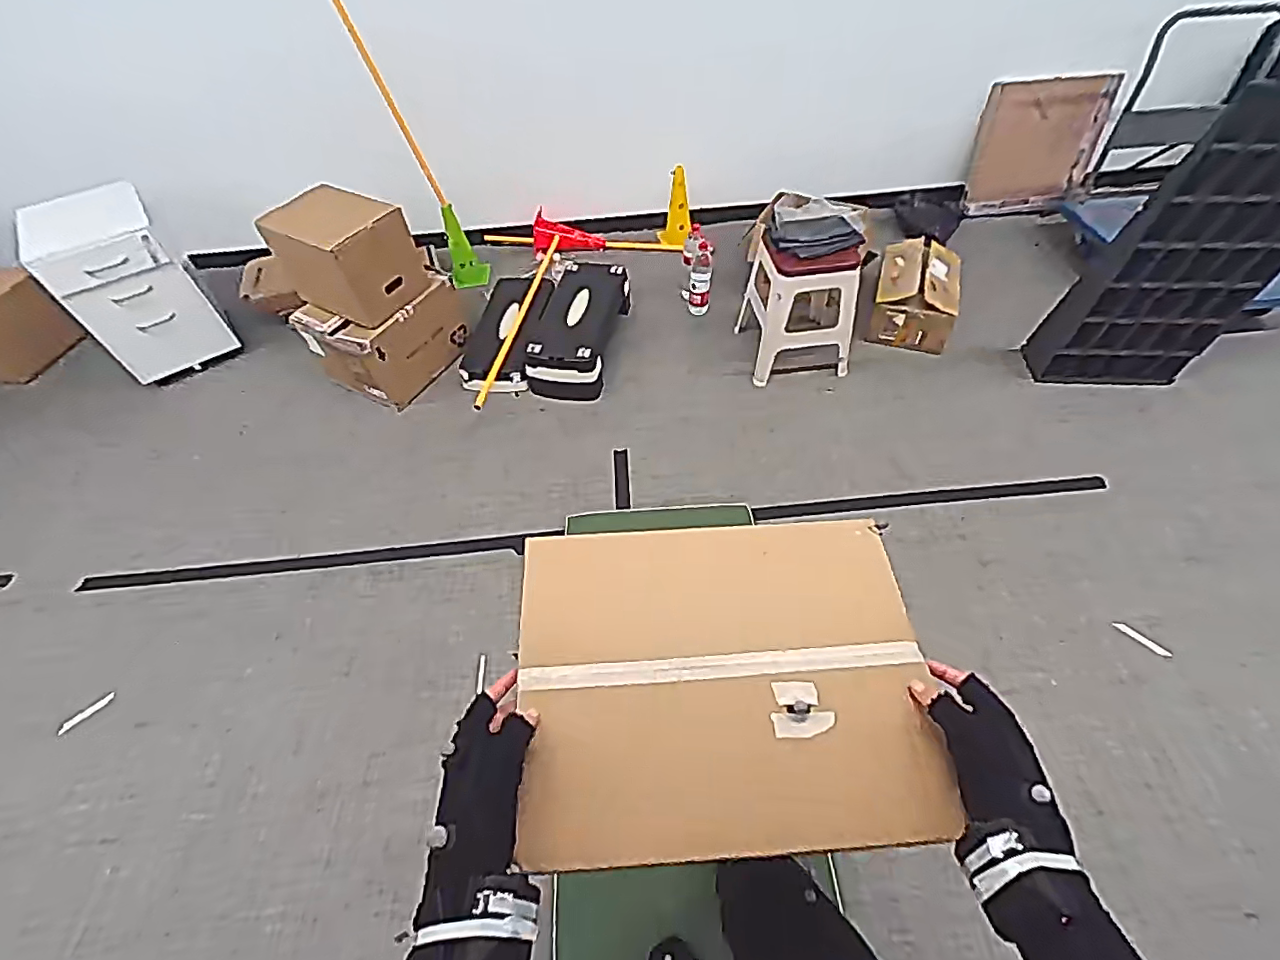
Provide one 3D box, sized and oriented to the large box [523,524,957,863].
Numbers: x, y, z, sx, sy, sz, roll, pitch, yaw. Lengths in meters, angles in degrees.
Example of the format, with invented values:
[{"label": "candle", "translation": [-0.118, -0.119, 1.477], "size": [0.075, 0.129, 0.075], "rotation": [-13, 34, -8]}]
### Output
[{"label": "large box", "translation": [0.079, 0.275, 0.685], "size": [0.408, 0.320, 0.320], "rotation": [-3, 57, -3]}]
